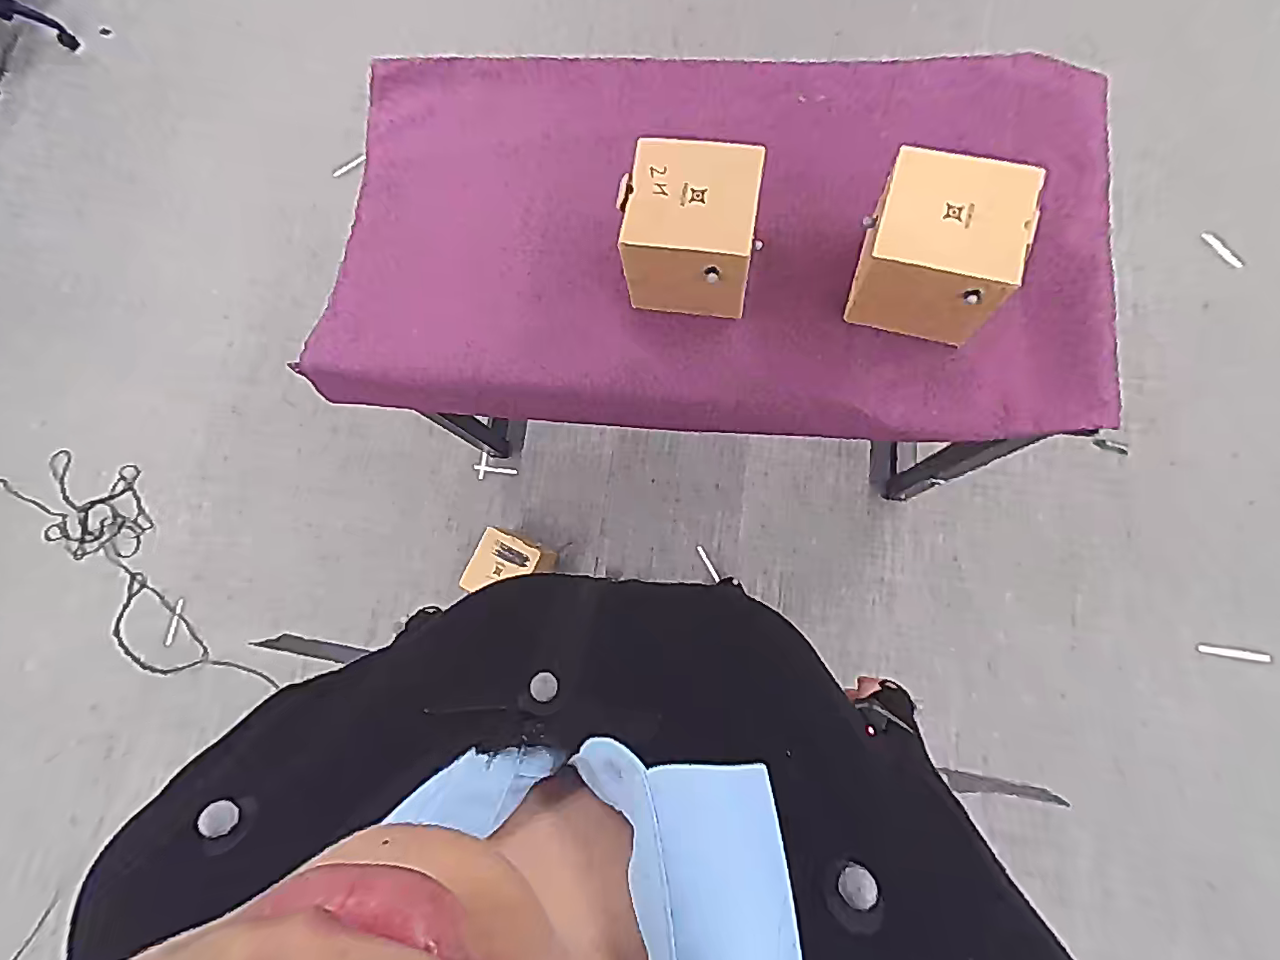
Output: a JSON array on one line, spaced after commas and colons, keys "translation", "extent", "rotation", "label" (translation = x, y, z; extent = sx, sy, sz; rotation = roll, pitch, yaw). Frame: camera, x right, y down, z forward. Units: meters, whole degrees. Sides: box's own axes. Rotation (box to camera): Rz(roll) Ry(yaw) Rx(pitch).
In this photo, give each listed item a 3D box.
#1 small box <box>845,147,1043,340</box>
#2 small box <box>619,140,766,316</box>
[{"translation": [0.402, -0.315, 0.747], "extent": [0.179, 0.176, 0.168], "rotation": [16, 81, 10], "label": "small box"}, {"translation": [0.079, -0.359, 0.795], "extent": [0.179, 0.176, 0.168], "rotation": [9, 79, 8], "label": "small box"}]
